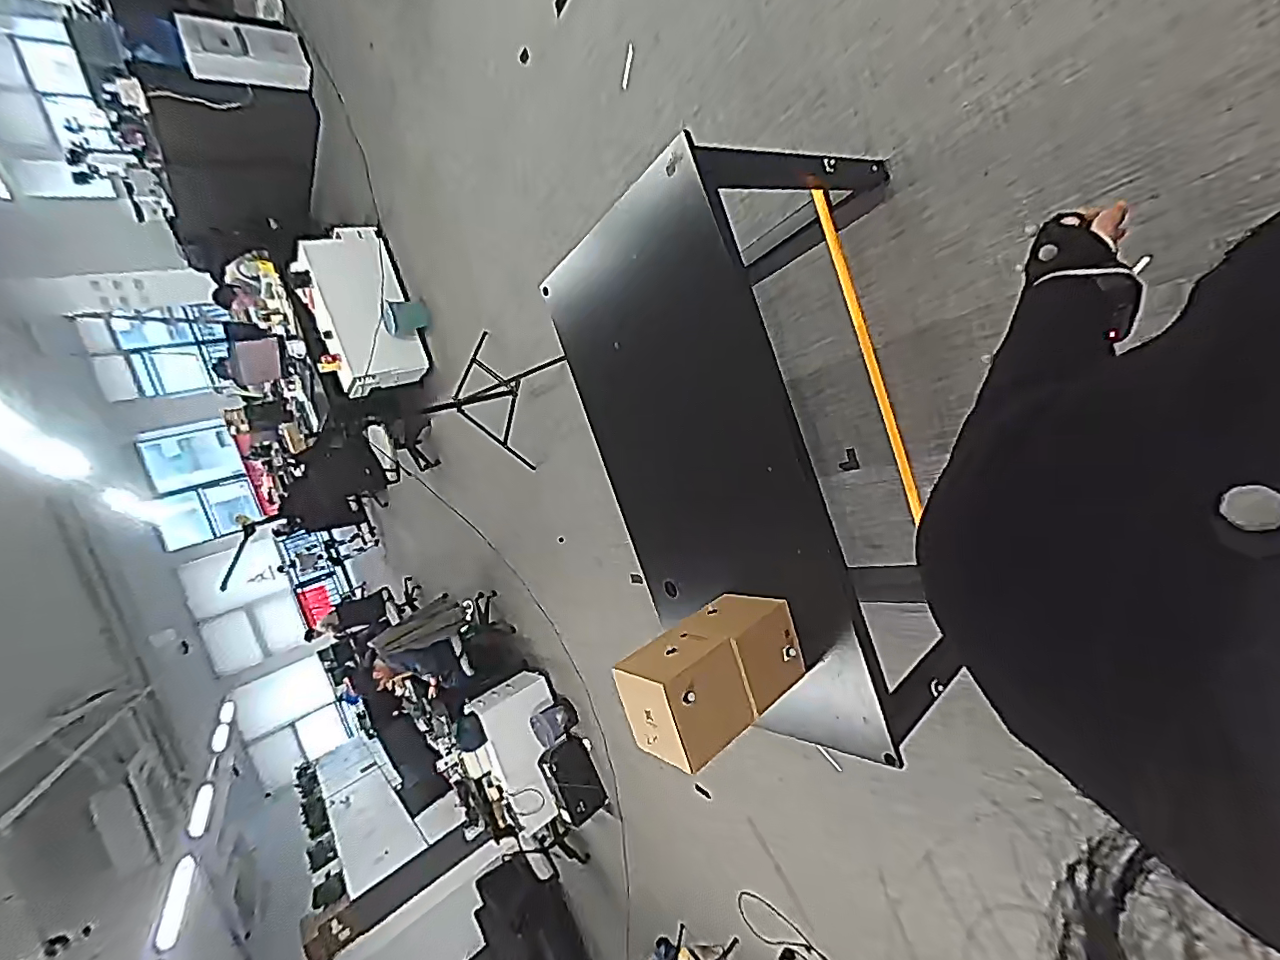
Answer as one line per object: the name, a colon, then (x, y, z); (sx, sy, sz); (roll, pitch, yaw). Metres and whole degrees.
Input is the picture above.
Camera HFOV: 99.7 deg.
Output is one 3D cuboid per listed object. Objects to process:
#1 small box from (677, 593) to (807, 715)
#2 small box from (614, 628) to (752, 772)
small box: (0.210, 0.345, 1.113); (0.179, 0.176, 0.168); (-10, 101, 53)
small box: (0.082, 0.401, 1.024); (0.168, 0.176, 0.179); (-9, 101, 55)
